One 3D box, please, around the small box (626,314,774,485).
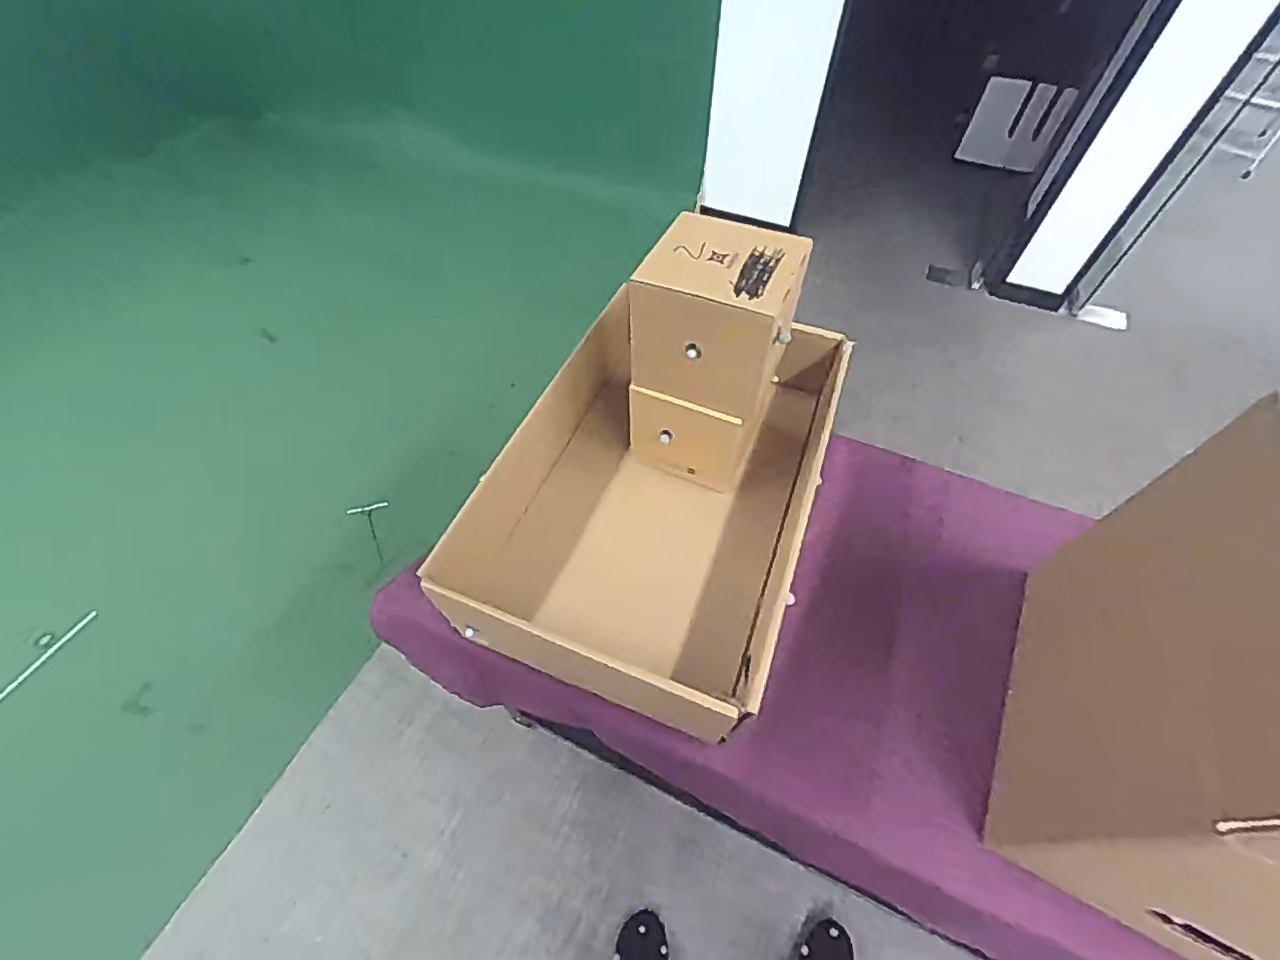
[{"bbox_3d":[0.092,-0.120,0.837,0.168,0.176,0.179,21,58,15],"label":"small box"}]
